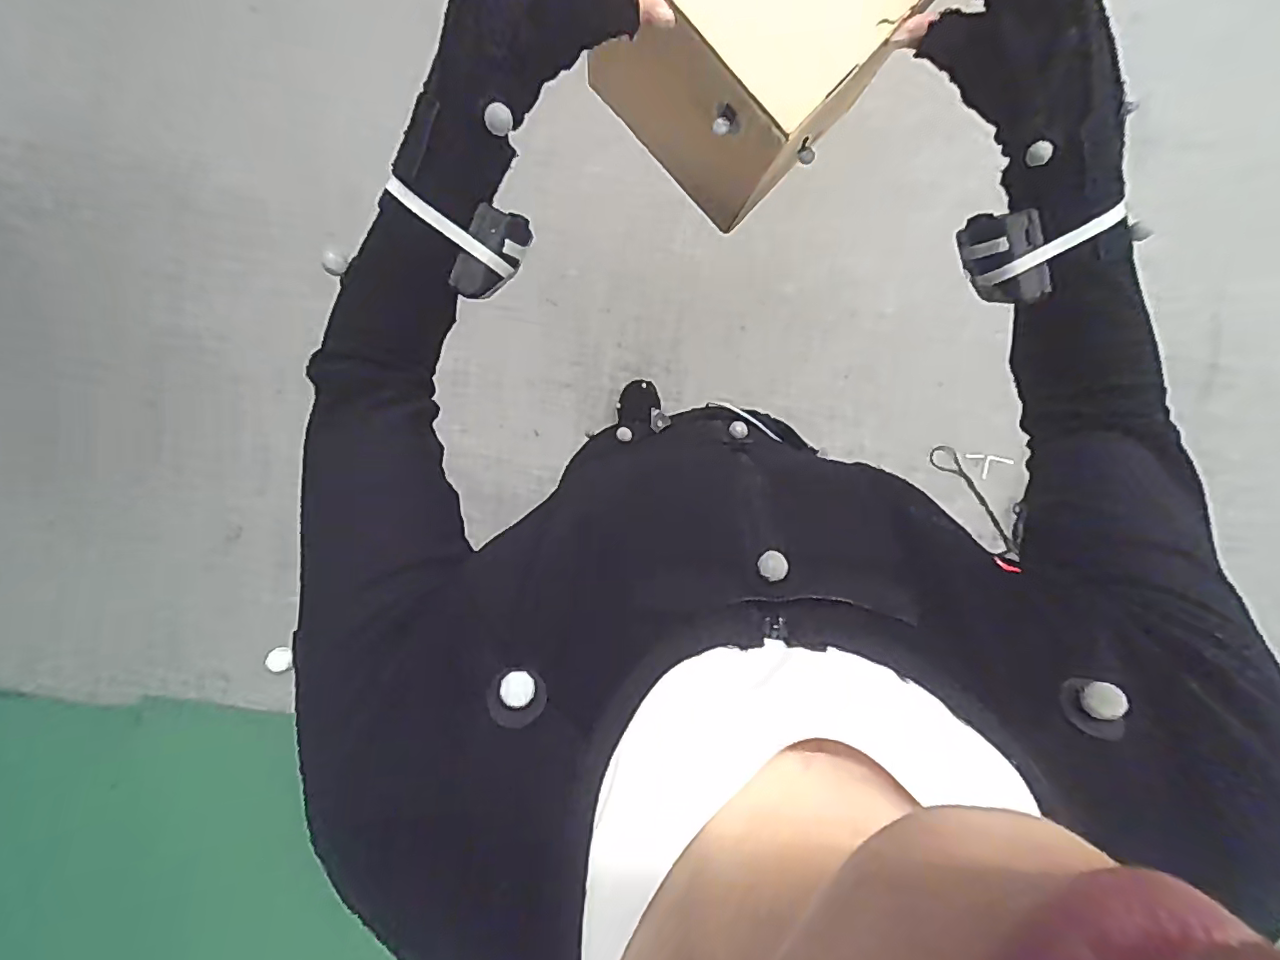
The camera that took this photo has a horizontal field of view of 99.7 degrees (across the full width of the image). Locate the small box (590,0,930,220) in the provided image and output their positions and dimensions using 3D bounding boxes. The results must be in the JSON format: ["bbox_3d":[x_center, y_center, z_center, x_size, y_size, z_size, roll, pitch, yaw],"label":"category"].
[{"bbox_3d":[0.075,-0.333,0.397,0.168,0.176,0.179,-45,98,1],"label":"small box"}]
